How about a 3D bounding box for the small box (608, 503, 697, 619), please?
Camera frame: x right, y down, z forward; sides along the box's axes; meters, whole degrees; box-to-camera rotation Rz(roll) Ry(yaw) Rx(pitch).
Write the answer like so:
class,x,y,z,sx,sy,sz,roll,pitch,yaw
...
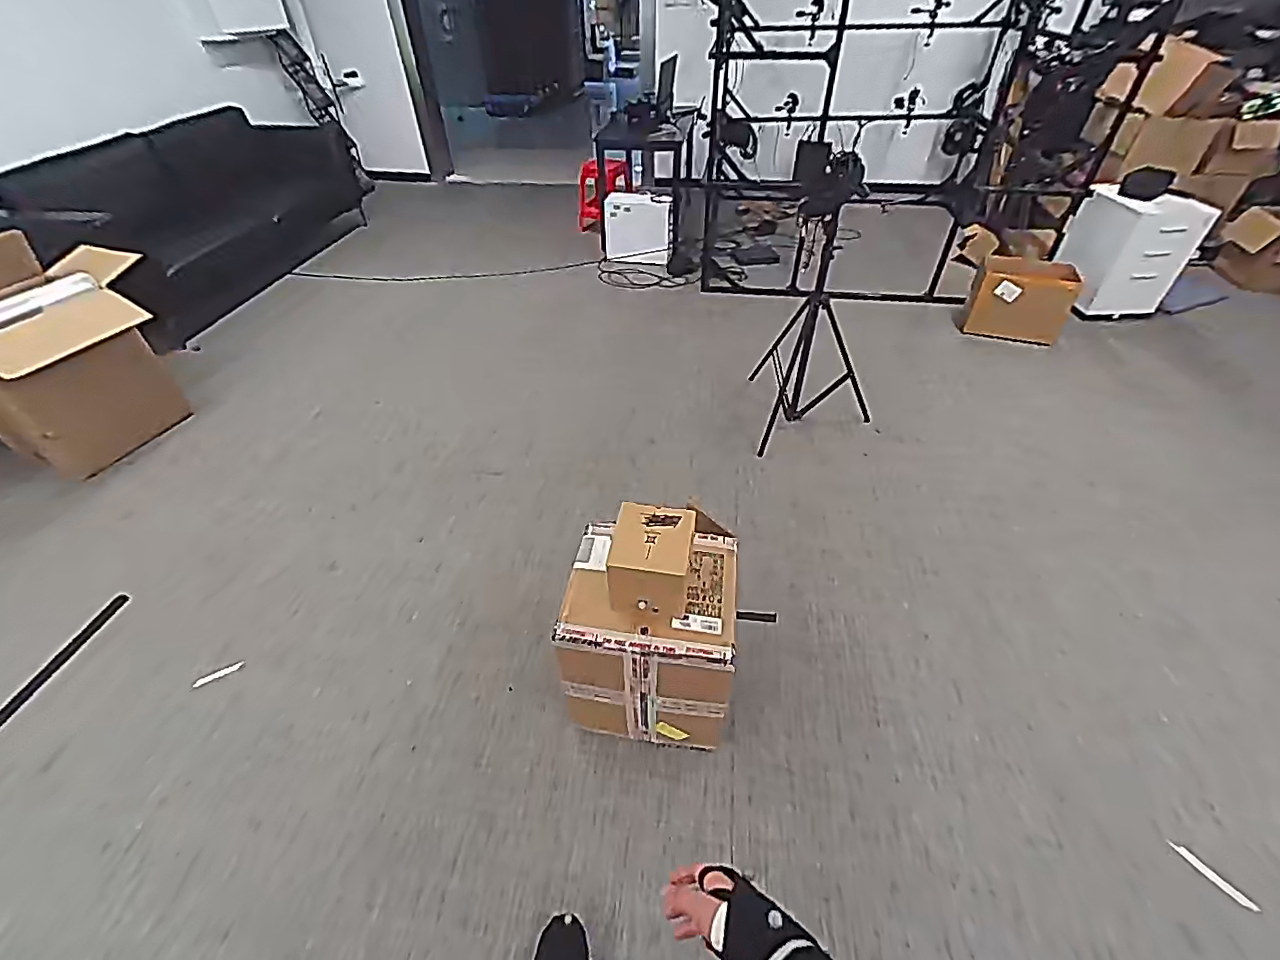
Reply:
class,x,y,z,sx,sy,sz,roll,pitch,yaw
small box,0.030,0.178,1.193,0.168,0.176,0.179,6,47,8
